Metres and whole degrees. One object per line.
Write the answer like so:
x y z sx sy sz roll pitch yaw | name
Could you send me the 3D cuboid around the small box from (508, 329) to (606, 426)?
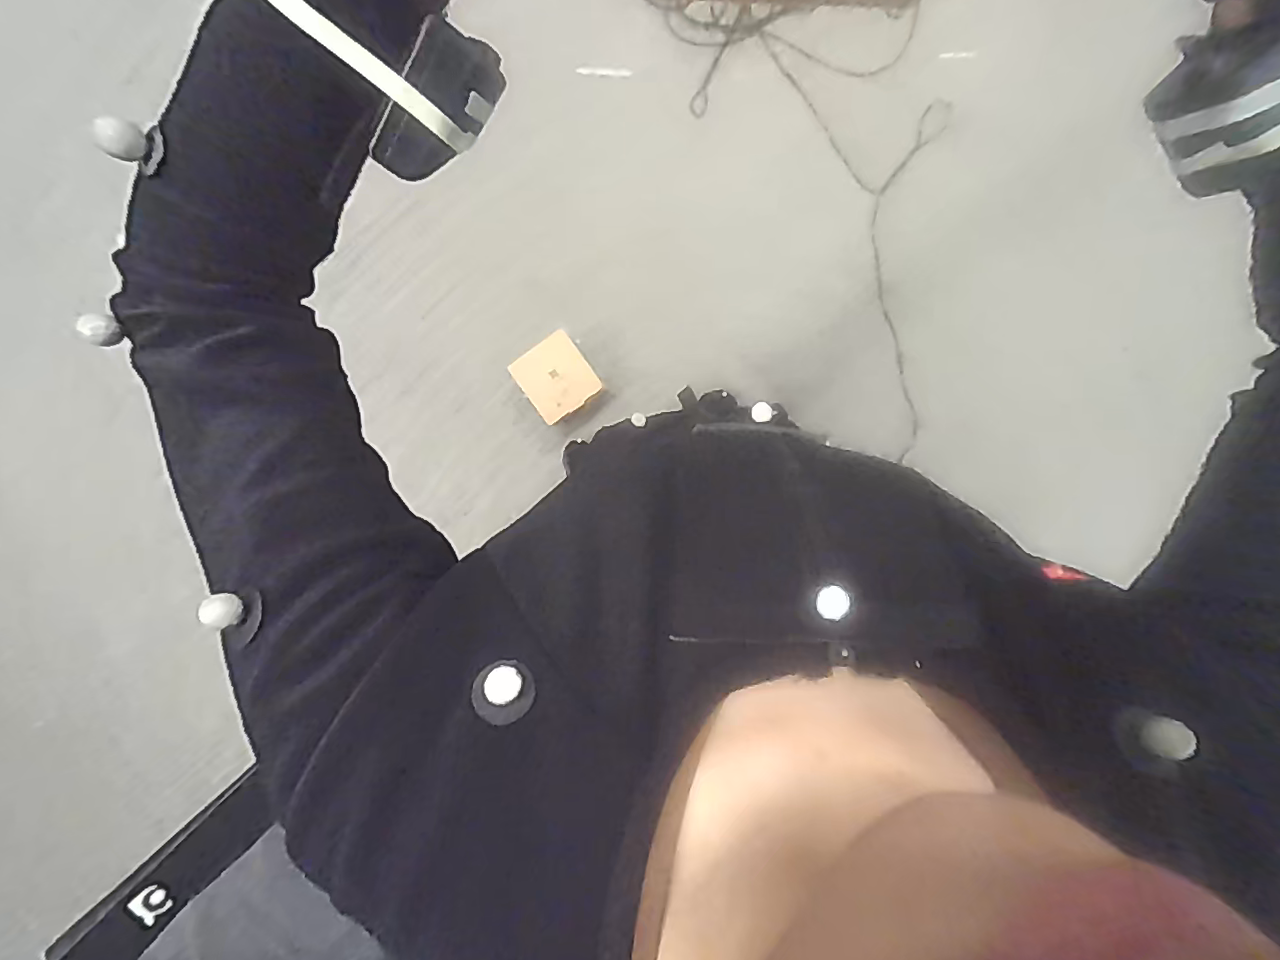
-0.203 -0.252 1.368 0.168 0.176 0.179 -35 96 4 | small box
